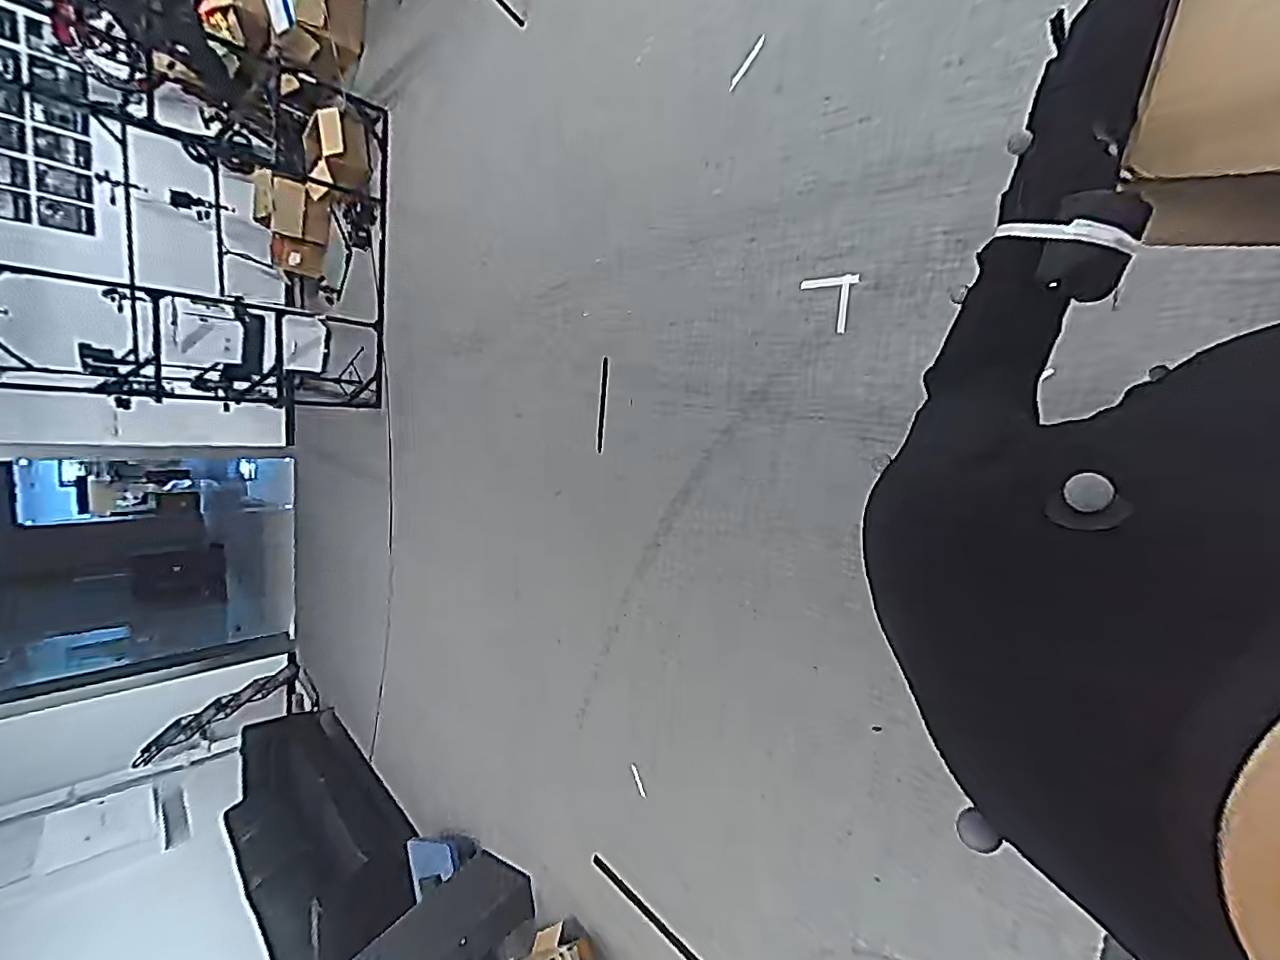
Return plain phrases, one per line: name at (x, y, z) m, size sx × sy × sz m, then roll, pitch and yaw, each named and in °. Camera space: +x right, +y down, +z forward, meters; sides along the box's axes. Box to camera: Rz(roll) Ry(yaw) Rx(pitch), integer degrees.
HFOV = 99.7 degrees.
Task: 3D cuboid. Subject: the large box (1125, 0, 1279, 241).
large box at (0.608, -0.340, 0.330) m, size 0.408 × 0.320 × 0.320 m, roll 21°, pitch 114°, yaw 40°
